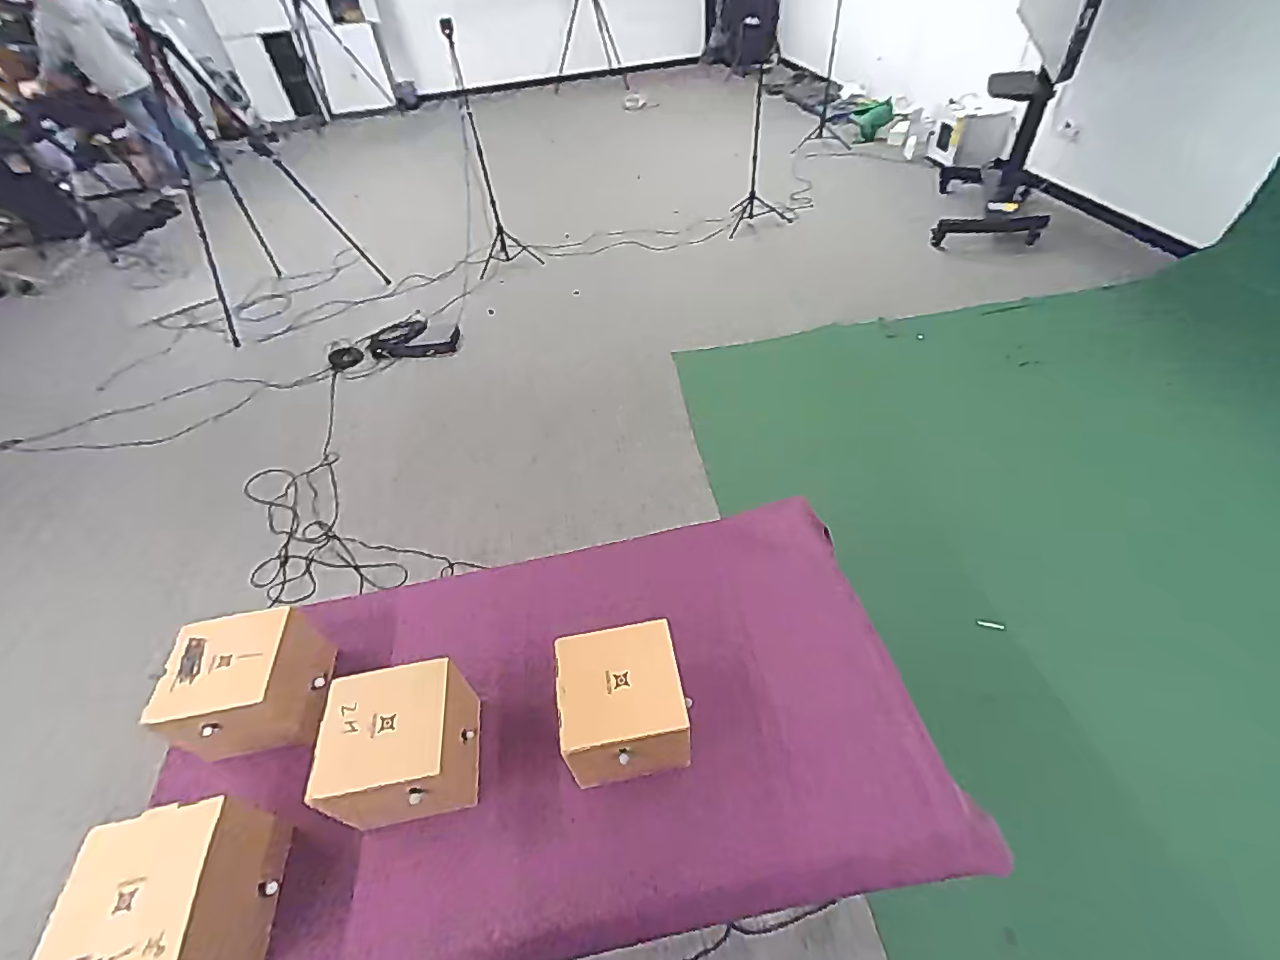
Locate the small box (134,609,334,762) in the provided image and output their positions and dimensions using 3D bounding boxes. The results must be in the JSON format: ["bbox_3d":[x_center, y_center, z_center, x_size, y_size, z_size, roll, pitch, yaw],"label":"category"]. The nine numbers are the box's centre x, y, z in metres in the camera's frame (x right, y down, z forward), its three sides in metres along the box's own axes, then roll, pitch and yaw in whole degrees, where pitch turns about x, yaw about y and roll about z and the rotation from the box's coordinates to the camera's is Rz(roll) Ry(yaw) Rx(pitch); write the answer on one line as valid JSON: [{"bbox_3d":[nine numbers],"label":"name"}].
[{"bbox_3d":[-0.641,0.339,0.883,0.179,0.176,0.168,-10,47,-5],"label":"small box"}]

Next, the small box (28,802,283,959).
[{"bbox_3d":[-0.590,0.543,0.682,0.168,0.176,0.179,-12,45,-5],"label":"small box"}]

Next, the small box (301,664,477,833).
[{"bbox_3d":[-0.350,0.396,0.797,0.179,0.176,0.168,-10,46,-4],"label":"small box"}]

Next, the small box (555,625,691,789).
[{"bbox_3d":[-0.024,0.344,0.816,0.179,0.176,0.168,-11,47,-2],"label":"small box"}]
